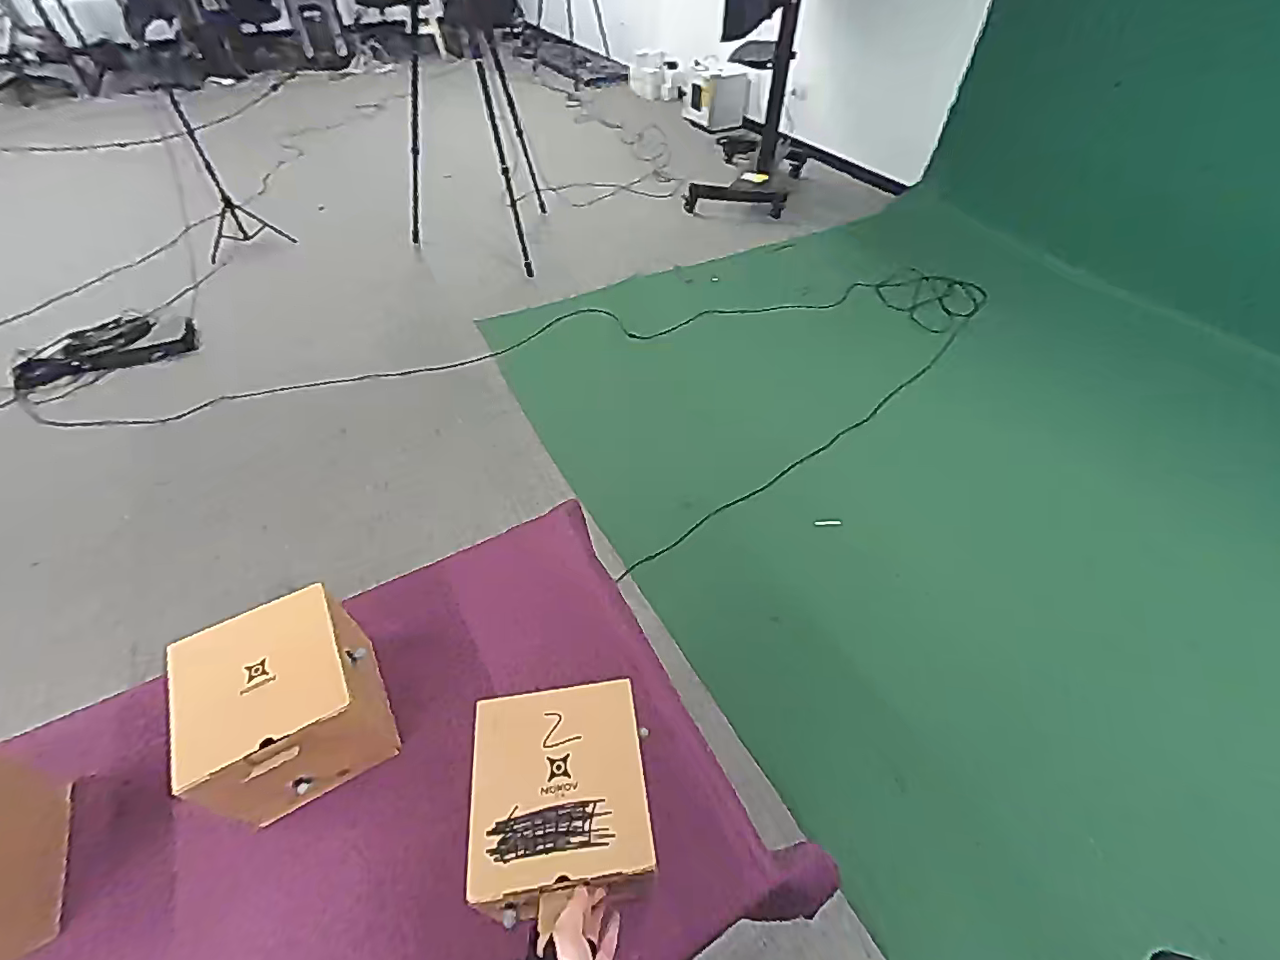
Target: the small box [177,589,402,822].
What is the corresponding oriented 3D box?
[{"bbox_3d":[-0.413,0.271,0.652,0.168,0.176,0.179,-24,53,-20],"label":"small box"}]
